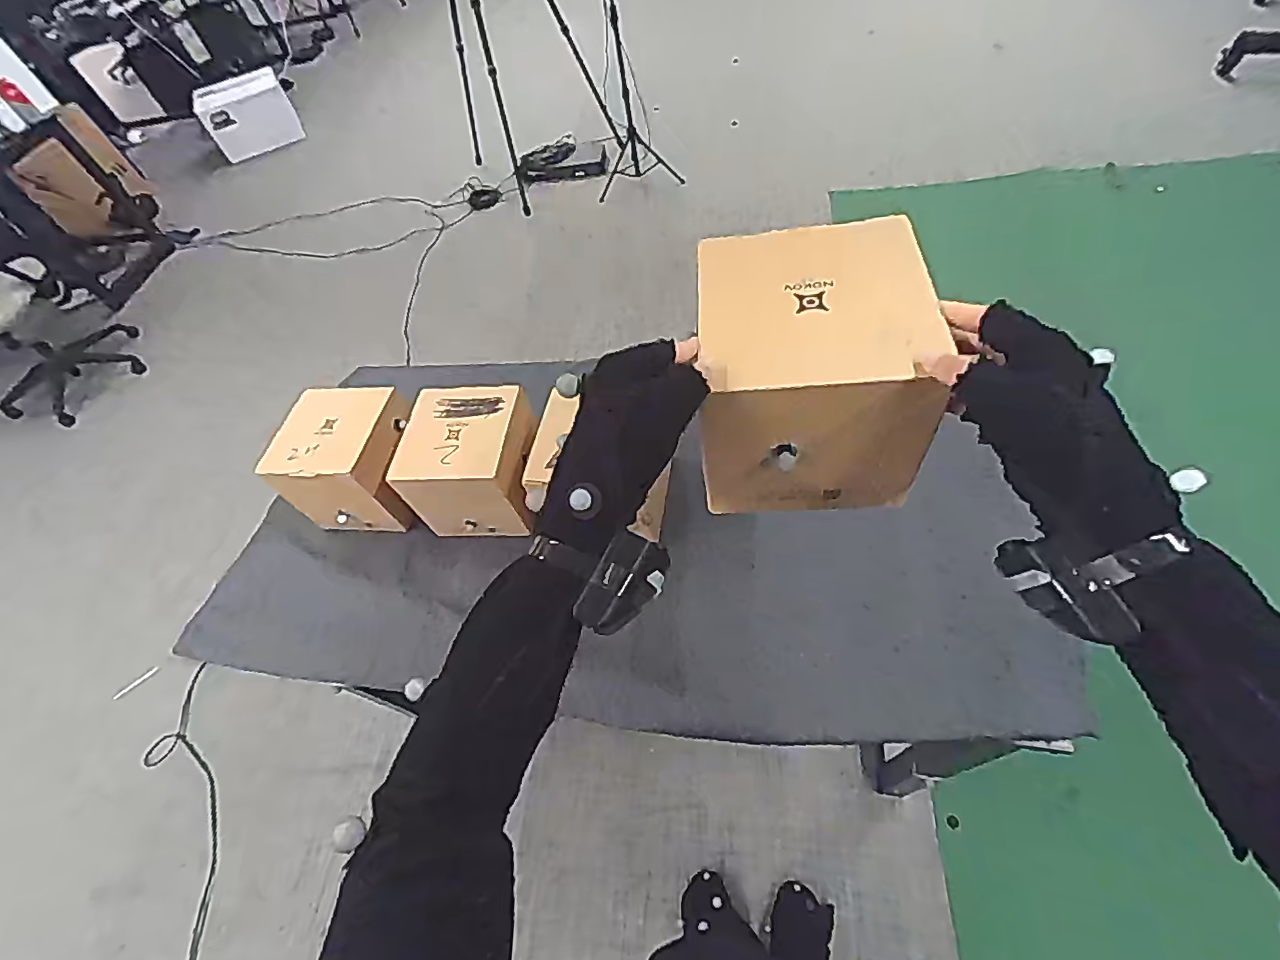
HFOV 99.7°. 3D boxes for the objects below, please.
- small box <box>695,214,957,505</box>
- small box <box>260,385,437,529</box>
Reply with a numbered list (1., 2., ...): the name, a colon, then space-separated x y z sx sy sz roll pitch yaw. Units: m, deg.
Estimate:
1. small box: 0.138 -0.088 0.457 0.168 0.176 0.179 -3 56 10
2. small box: -0.463 -0.037 0.897 0.168 0.176 0.179 1 56 11
